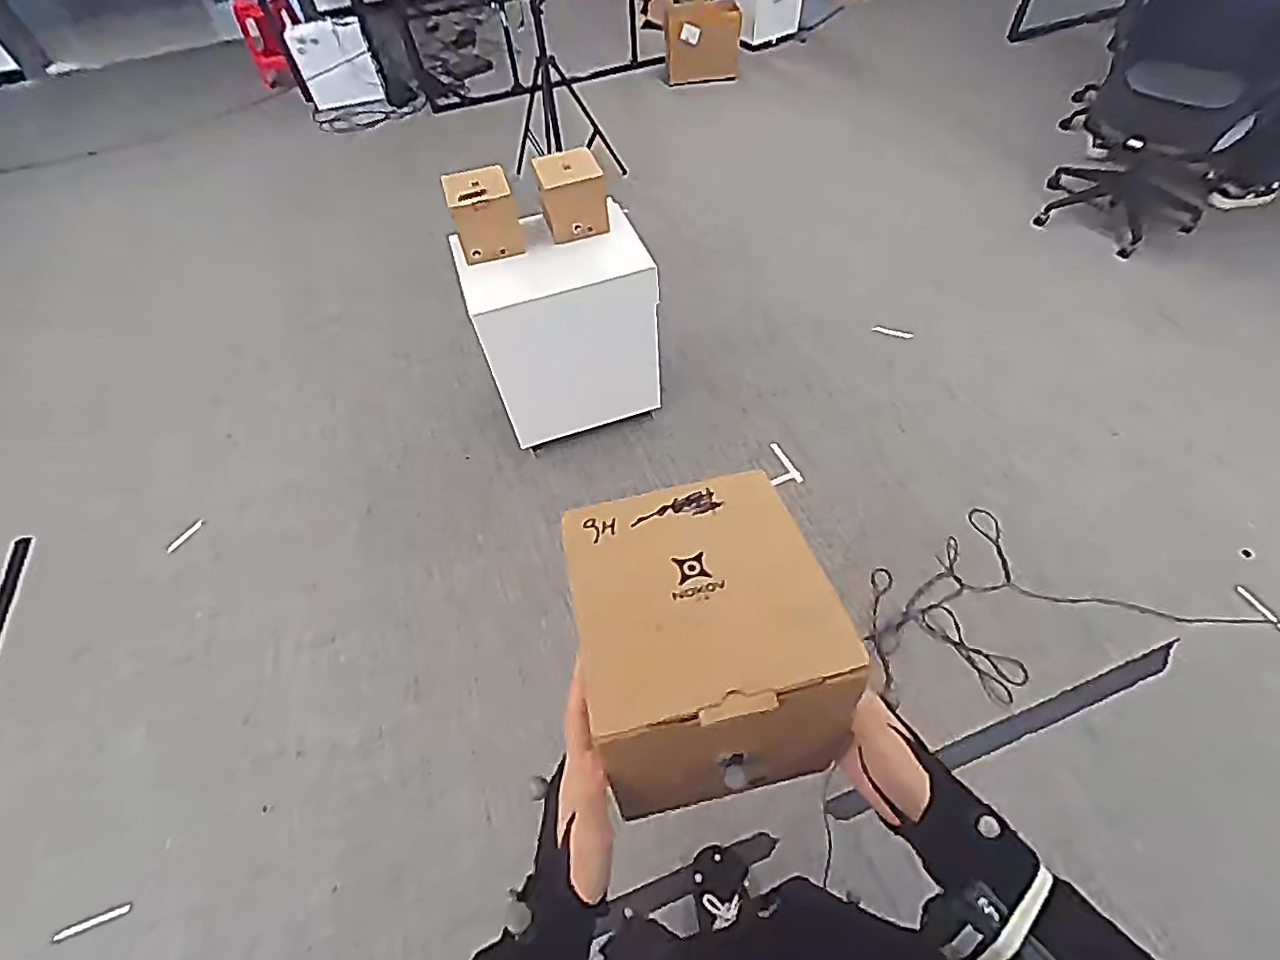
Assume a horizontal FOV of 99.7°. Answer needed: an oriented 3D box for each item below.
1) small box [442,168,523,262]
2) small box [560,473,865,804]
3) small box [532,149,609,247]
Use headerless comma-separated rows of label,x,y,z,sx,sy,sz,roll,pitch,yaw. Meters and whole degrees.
small box,-0.432,-0.724,1.494,0.168,0.176,0.179,-16,56,-8
small box,0.042,0.126,0.416,0.168,0.176,0.179,-12,45,-5
small box,-0.194,-0.795,1.530,0.168,0.176,0.179,-19,58,-7
